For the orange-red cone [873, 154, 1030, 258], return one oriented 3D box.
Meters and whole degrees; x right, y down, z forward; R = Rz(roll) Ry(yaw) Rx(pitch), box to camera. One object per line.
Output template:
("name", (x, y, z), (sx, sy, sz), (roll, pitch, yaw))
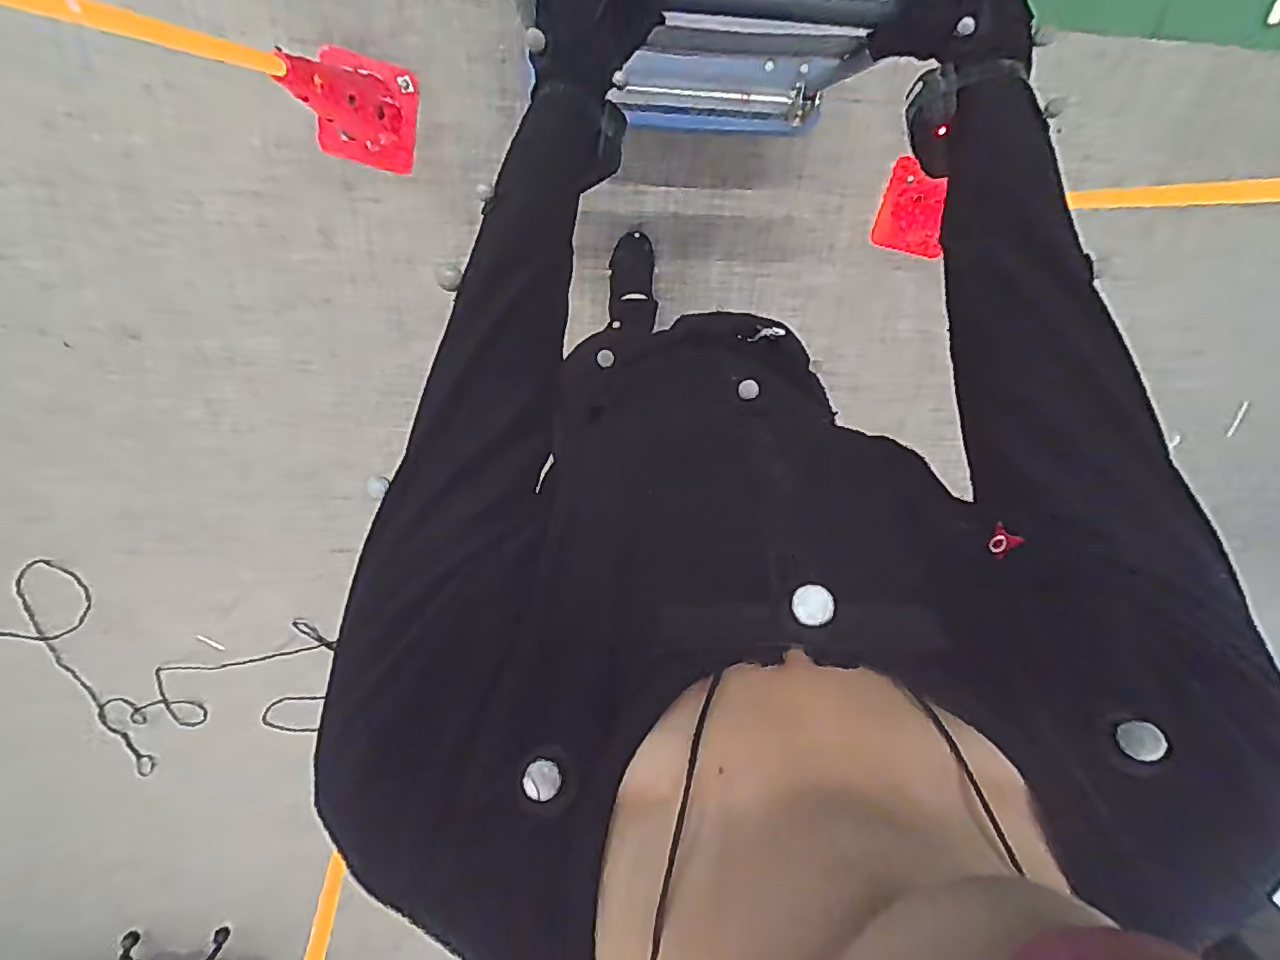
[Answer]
("orange-red cone", (0.697, -0.592, 1.161), (0.198, 0.360, 0.199), (11, 114, -8))
